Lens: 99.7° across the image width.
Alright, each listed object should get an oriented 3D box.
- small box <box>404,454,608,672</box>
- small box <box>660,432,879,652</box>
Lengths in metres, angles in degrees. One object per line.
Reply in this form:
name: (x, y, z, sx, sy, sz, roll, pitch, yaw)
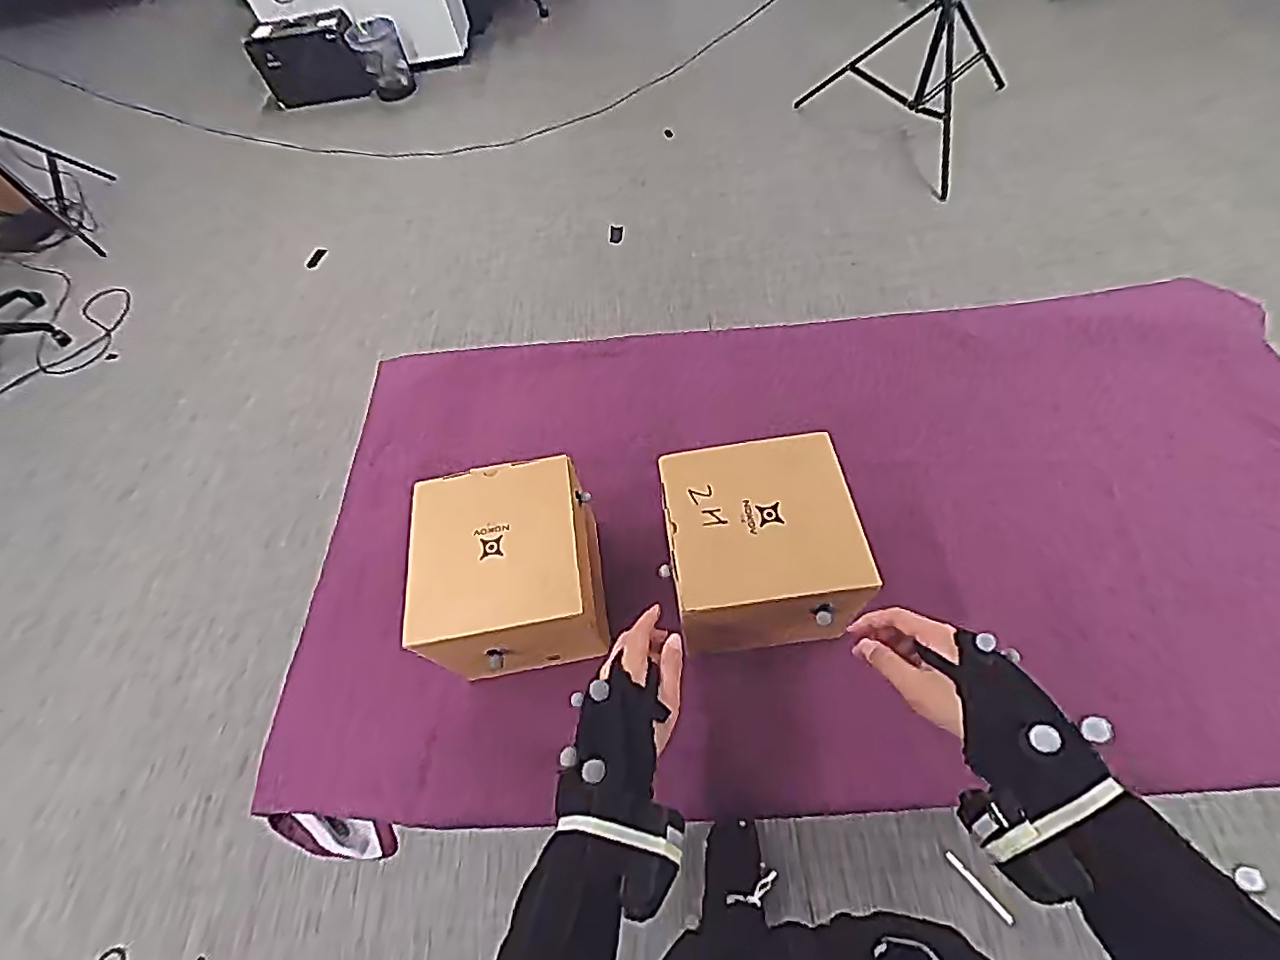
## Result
small box: (-0.135, 0.101, 0.592, 0.168, 0.176, 0.179, -11, 58, 0)
small box: (0.120, 0.073, 0.574, 0.179, 0.176, 0.168, -9, 58, 2)
